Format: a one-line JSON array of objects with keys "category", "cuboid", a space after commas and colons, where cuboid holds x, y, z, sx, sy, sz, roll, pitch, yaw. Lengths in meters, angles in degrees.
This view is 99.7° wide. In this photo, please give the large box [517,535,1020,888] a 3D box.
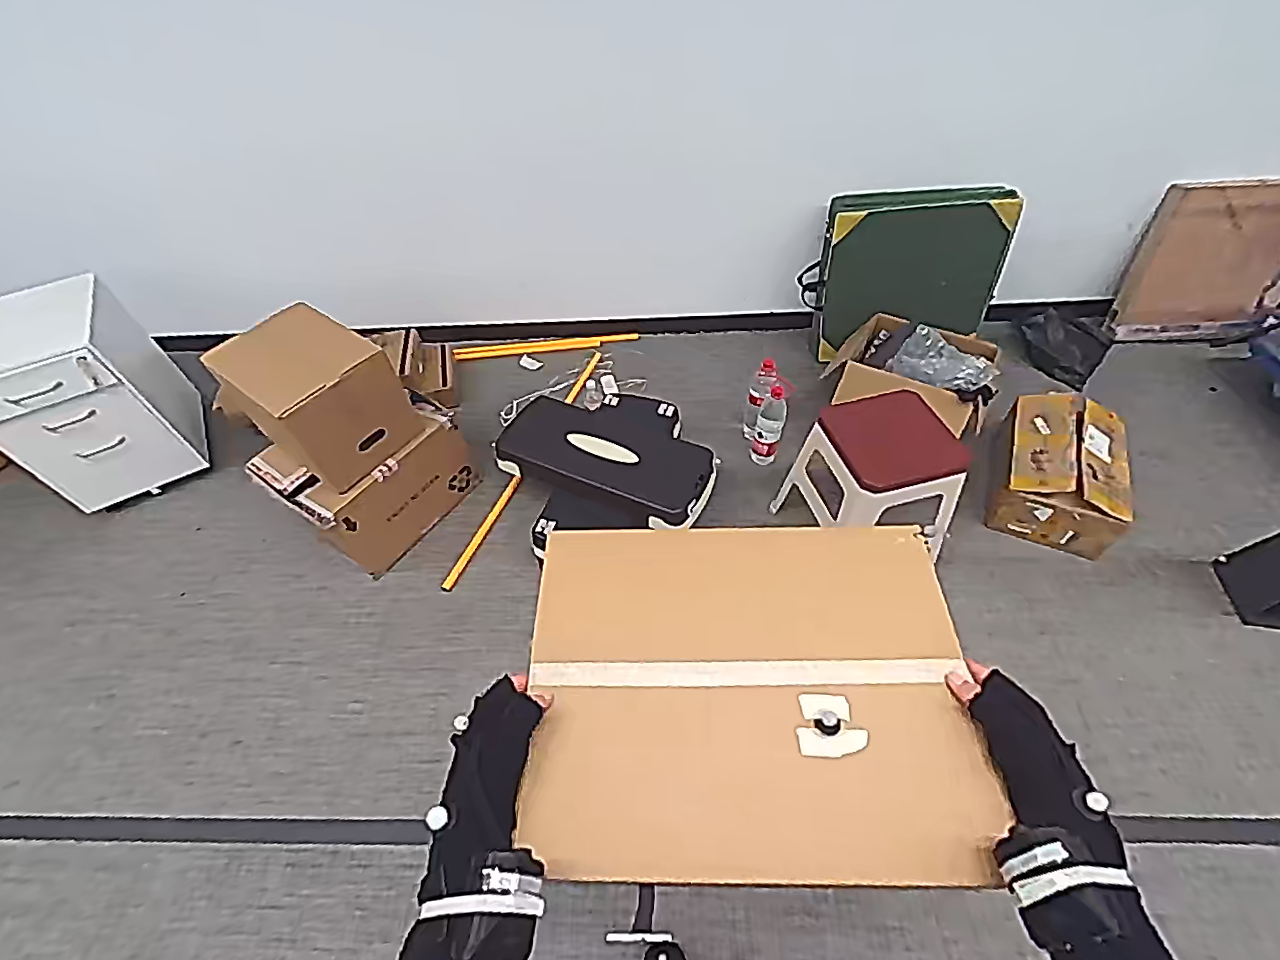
[{"category": "large box", "cuboid": [0.102, 0.276, 0.629, 0.408, 0.320, 0.320, -1, 54, 2]}]
